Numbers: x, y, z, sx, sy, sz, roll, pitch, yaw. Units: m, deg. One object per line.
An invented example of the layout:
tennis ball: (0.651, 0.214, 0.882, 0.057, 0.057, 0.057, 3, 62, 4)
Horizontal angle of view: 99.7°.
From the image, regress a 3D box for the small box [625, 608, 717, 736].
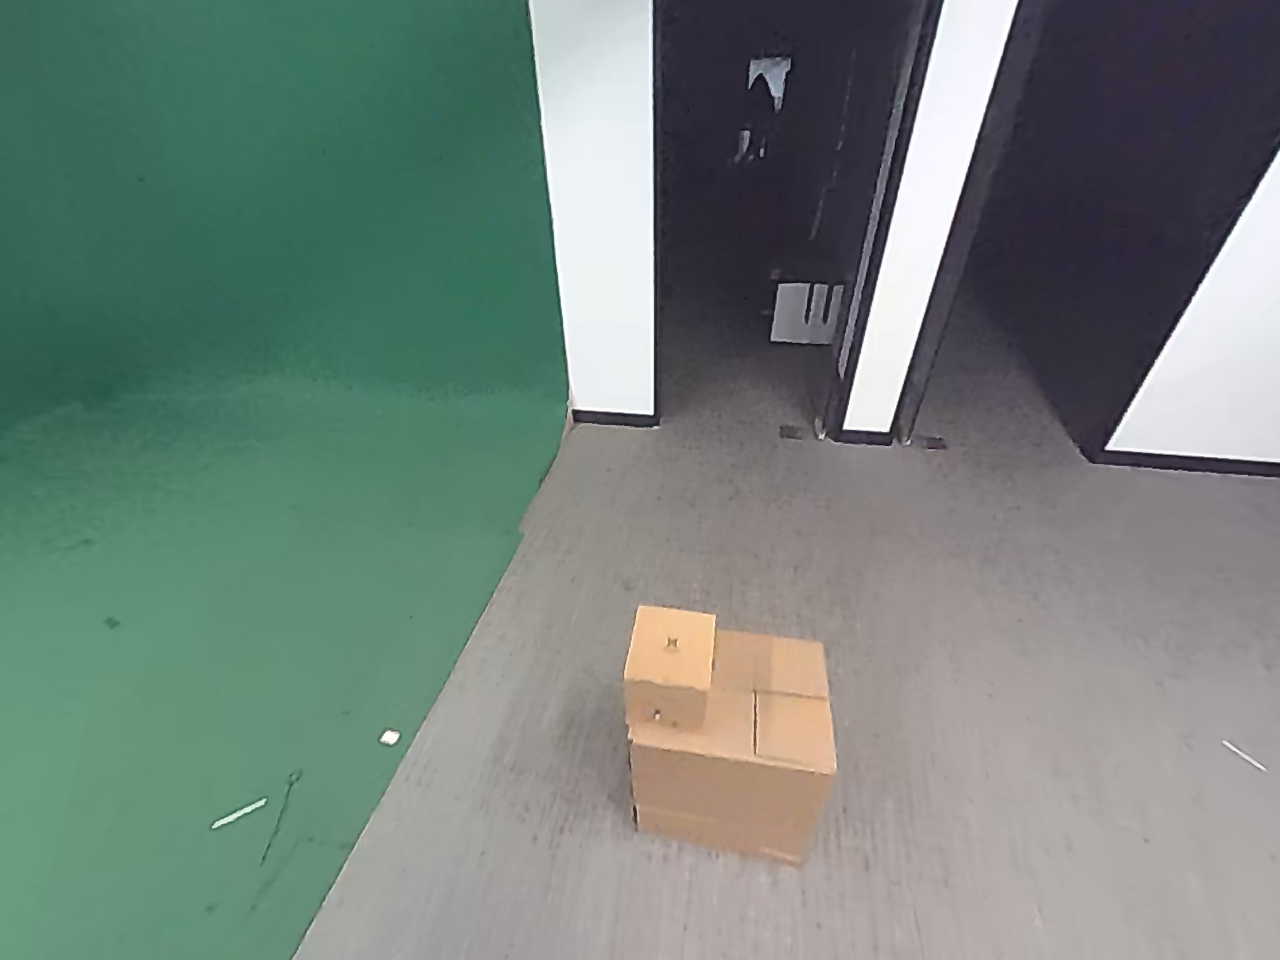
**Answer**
small box: (0.064, 0.394, 1.116, 0.168, 0.176, 0.179, 6, 39, 8)
